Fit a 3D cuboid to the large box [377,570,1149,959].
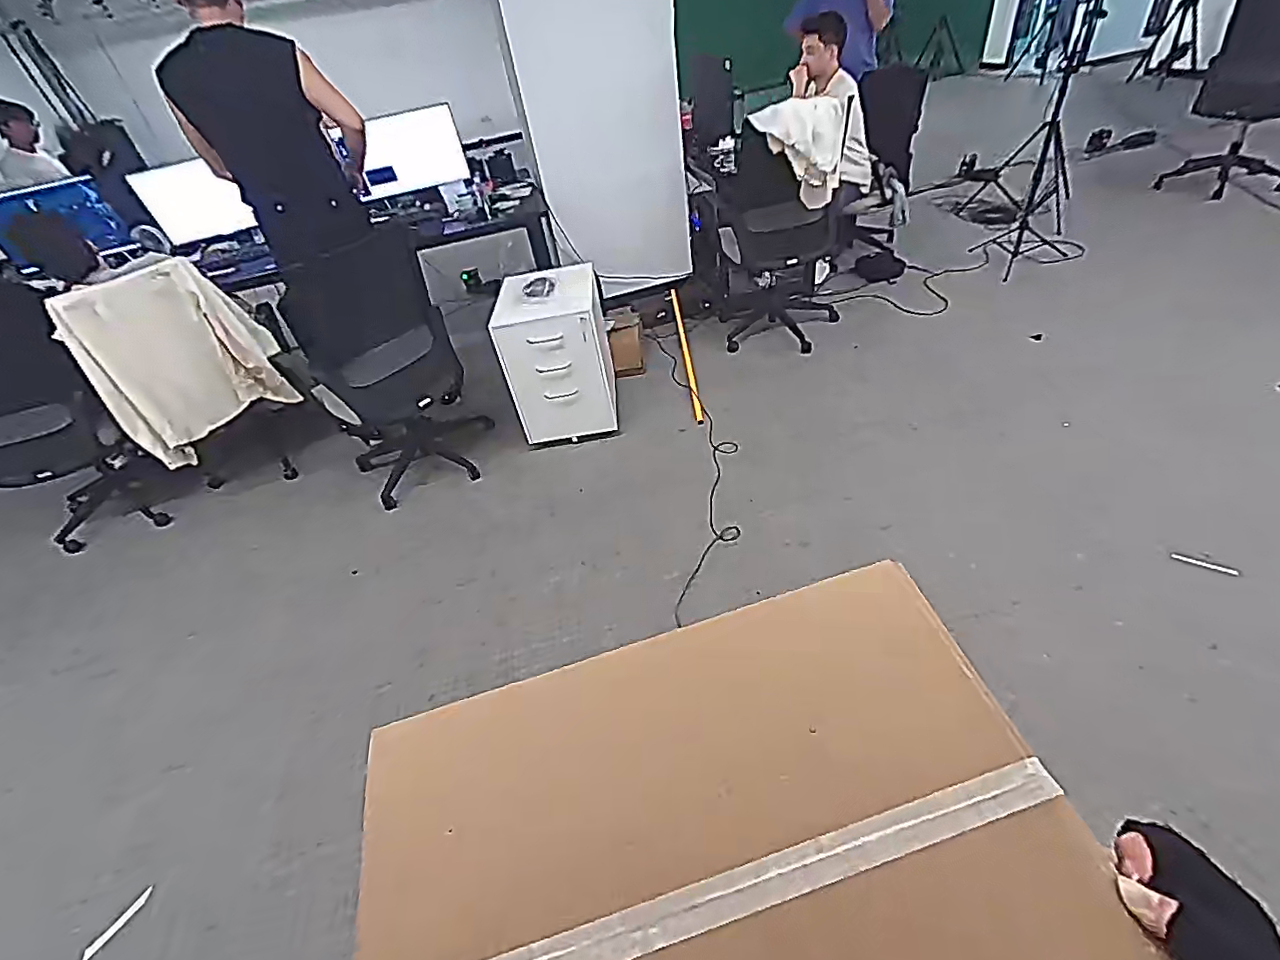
[{"bbox_3d":[0.066,0.330,0.425,0.408,0.320,0.320,-18,49,-3],"label":"large box"}]
